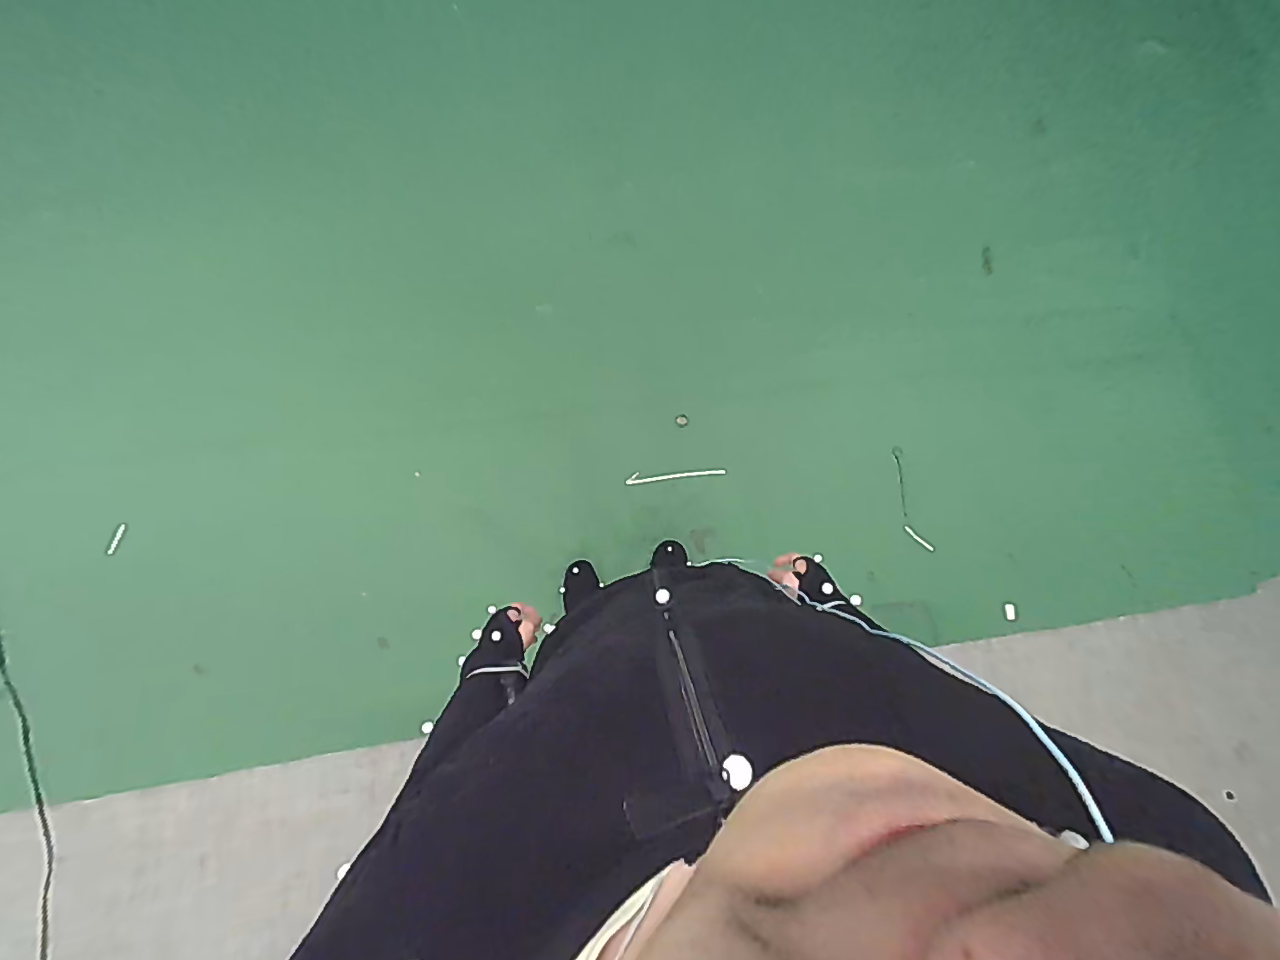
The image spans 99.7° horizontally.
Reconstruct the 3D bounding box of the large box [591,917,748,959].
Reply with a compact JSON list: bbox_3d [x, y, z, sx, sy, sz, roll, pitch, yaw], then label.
[{"bbox_3d":[0.100,1.394,1.346,0.408,0.320,0.320,-9,83,-7],"label":"large box"}]
